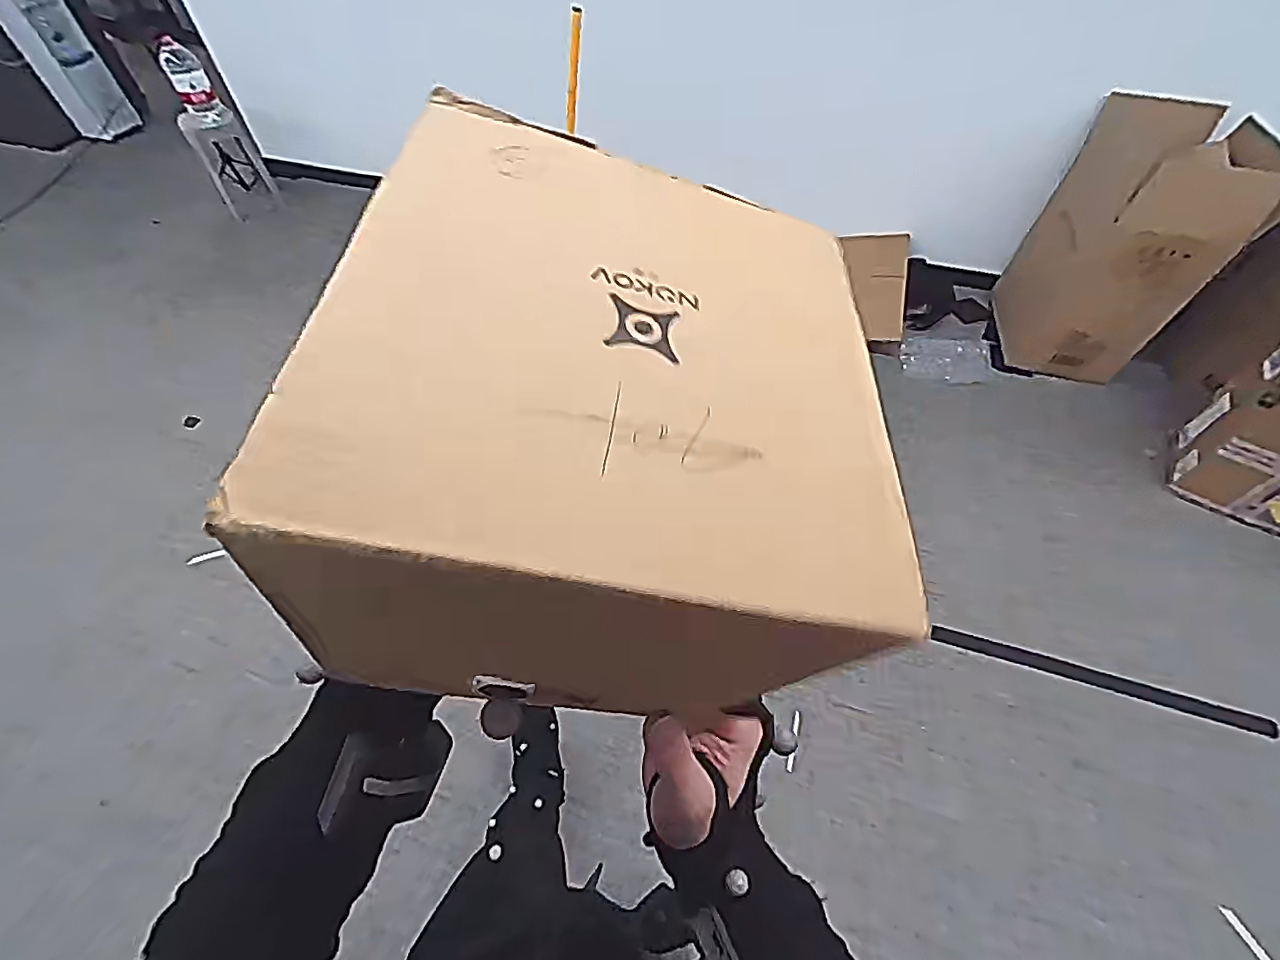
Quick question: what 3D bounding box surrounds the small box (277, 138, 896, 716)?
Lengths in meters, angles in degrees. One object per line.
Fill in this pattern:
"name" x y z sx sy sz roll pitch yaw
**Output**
"small box" -0.026 -0.004 0.246 0.168 0.176 0.179 10 57 -14
